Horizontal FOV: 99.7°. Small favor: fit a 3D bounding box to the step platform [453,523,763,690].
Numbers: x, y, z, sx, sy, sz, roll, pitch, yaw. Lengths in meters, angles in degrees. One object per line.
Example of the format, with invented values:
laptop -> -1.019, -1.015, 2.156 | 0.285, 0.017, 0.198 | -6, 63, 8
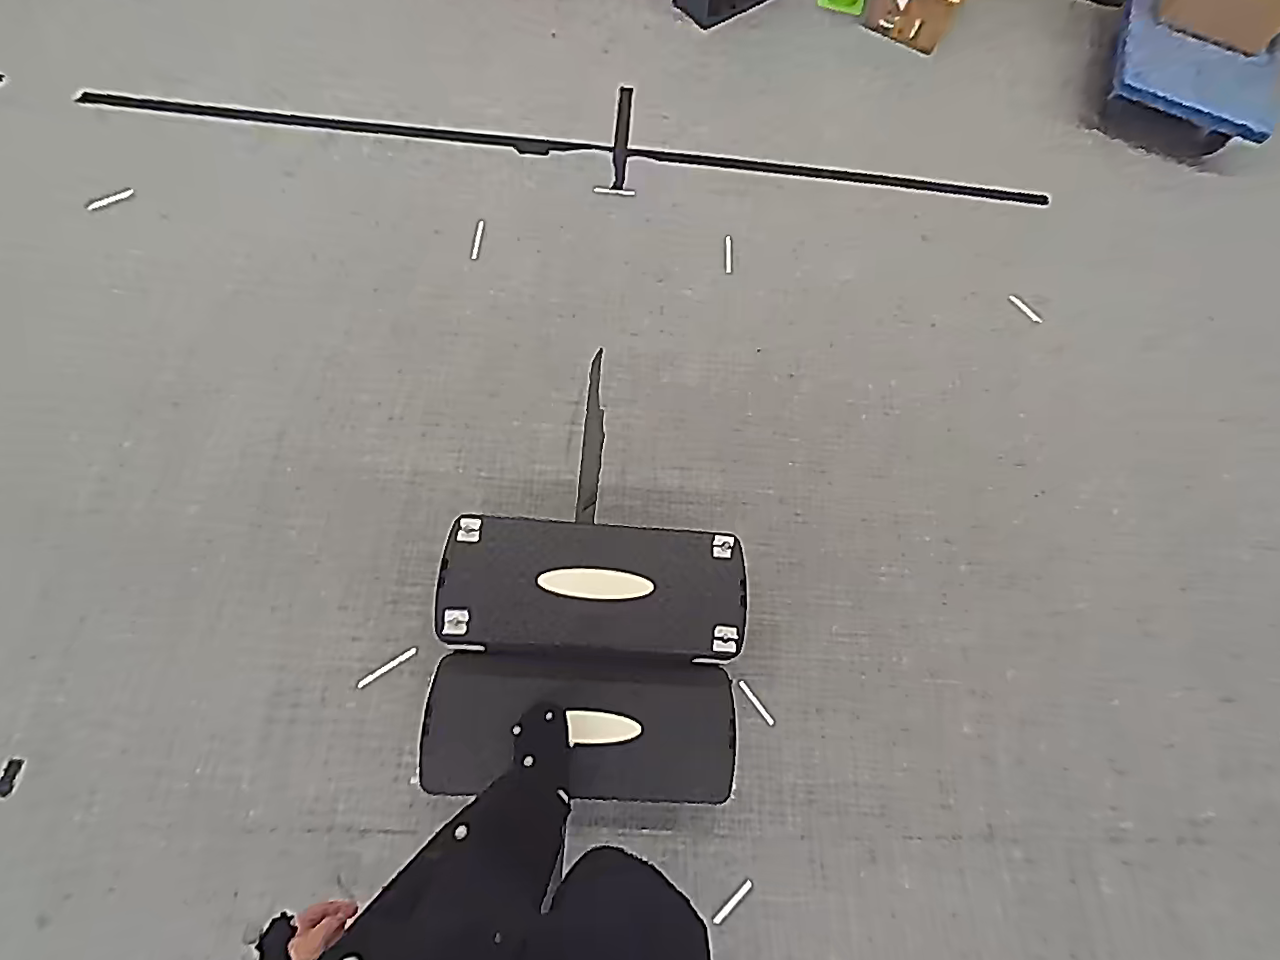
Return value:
step platform -> -0.066, 0.293, 1.244 | 0.684, 0.204, 0.286 | 9, 67, -3
